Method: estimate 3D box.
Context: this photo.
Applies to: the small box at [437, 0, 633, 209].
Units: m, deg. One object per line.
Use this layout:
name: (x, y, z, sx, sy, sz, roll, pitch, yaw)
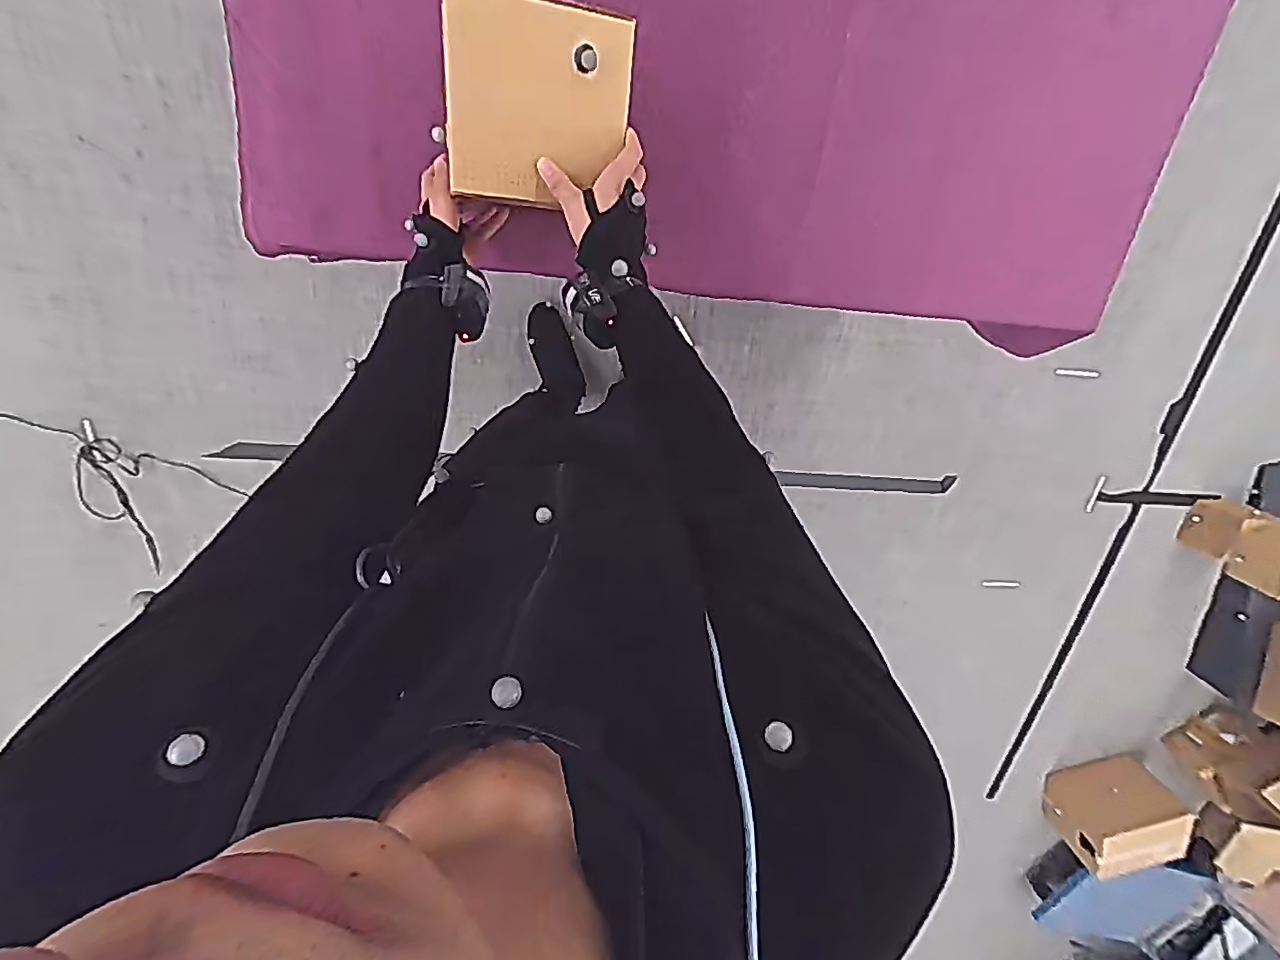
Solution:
small box: (-0.119, -0.393, 0.580, 0.179, 0.168, 0.176, -2, 115, -18)
